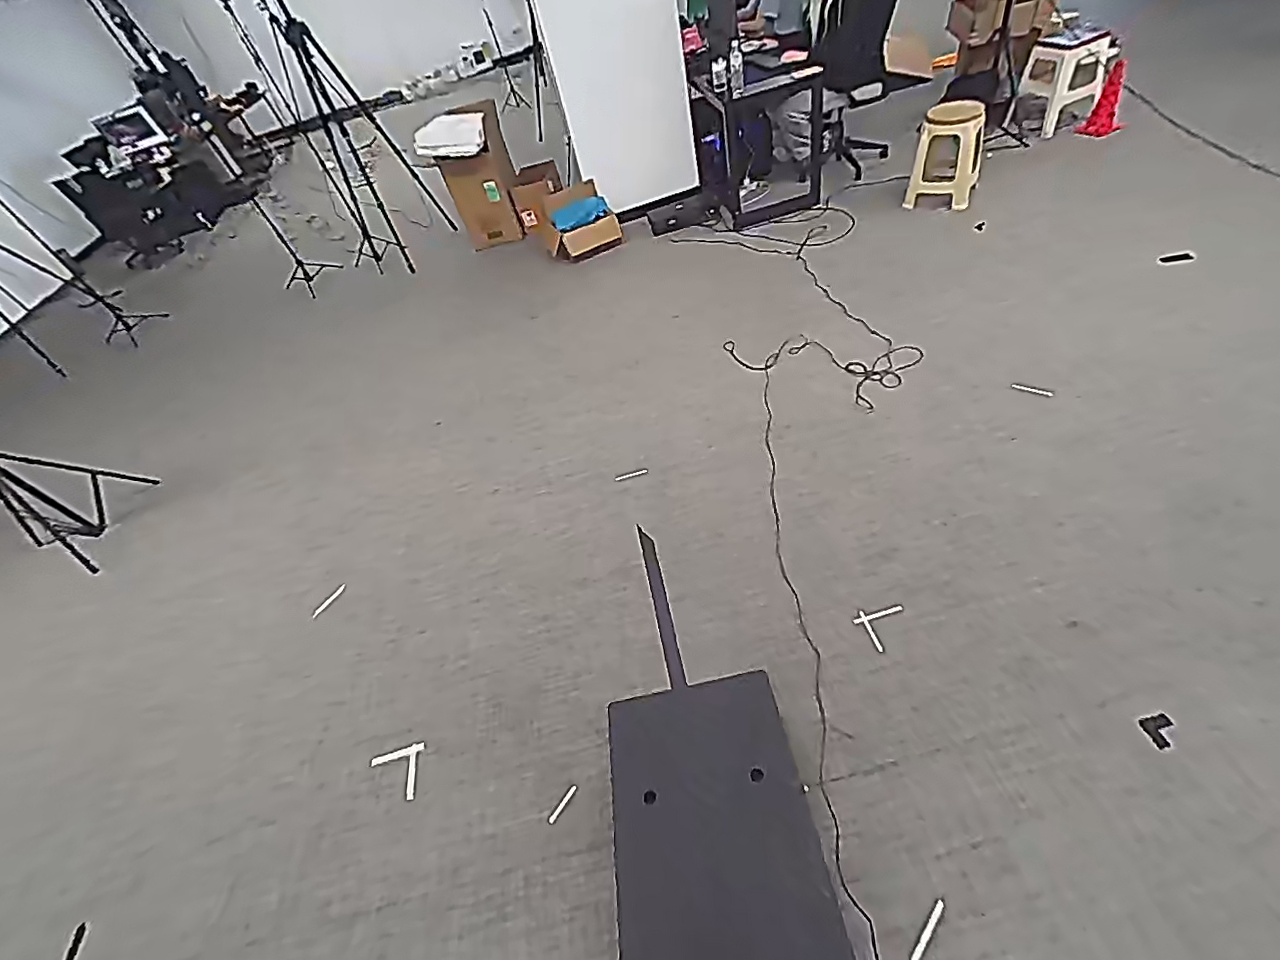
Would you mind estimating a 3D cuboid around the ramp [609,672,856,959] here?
[{"bbox_3d":[0.183,0.925,1.230,0.509,0.206,0.991,-16,46,4],"label":"ramp"}]
